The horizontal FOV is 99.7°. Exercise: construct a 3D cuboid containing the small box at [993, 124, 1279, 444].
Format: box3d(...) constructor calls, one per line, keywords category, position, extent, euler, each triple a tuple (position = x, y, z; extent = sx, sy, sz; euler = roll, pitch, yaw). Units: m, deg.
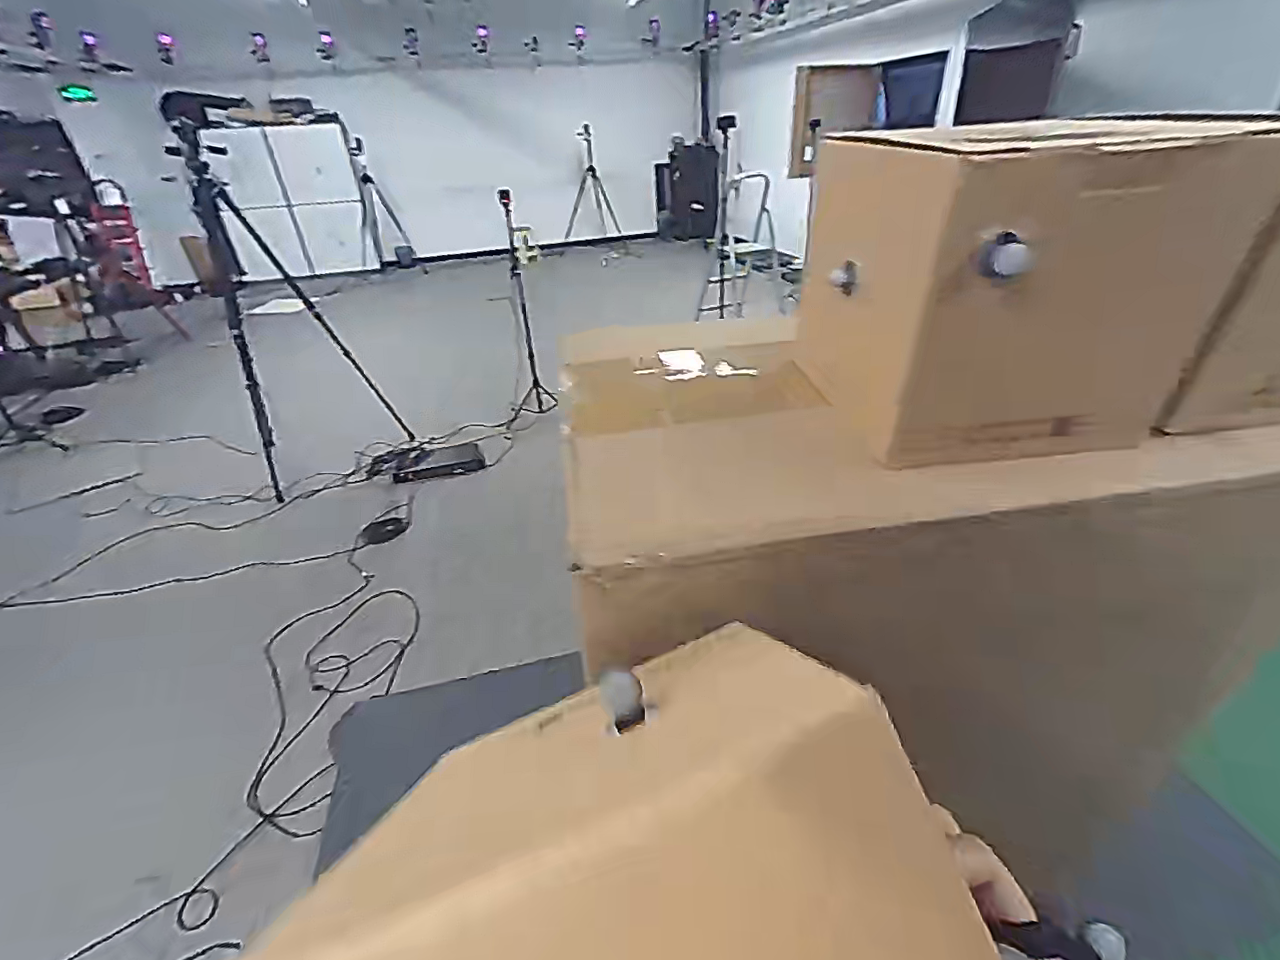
box3d(category="small box", position=(0.392, -0.141, 0.371), extent=(0.168, 0.176, 0.179), euler=(-6, 35, -8))
